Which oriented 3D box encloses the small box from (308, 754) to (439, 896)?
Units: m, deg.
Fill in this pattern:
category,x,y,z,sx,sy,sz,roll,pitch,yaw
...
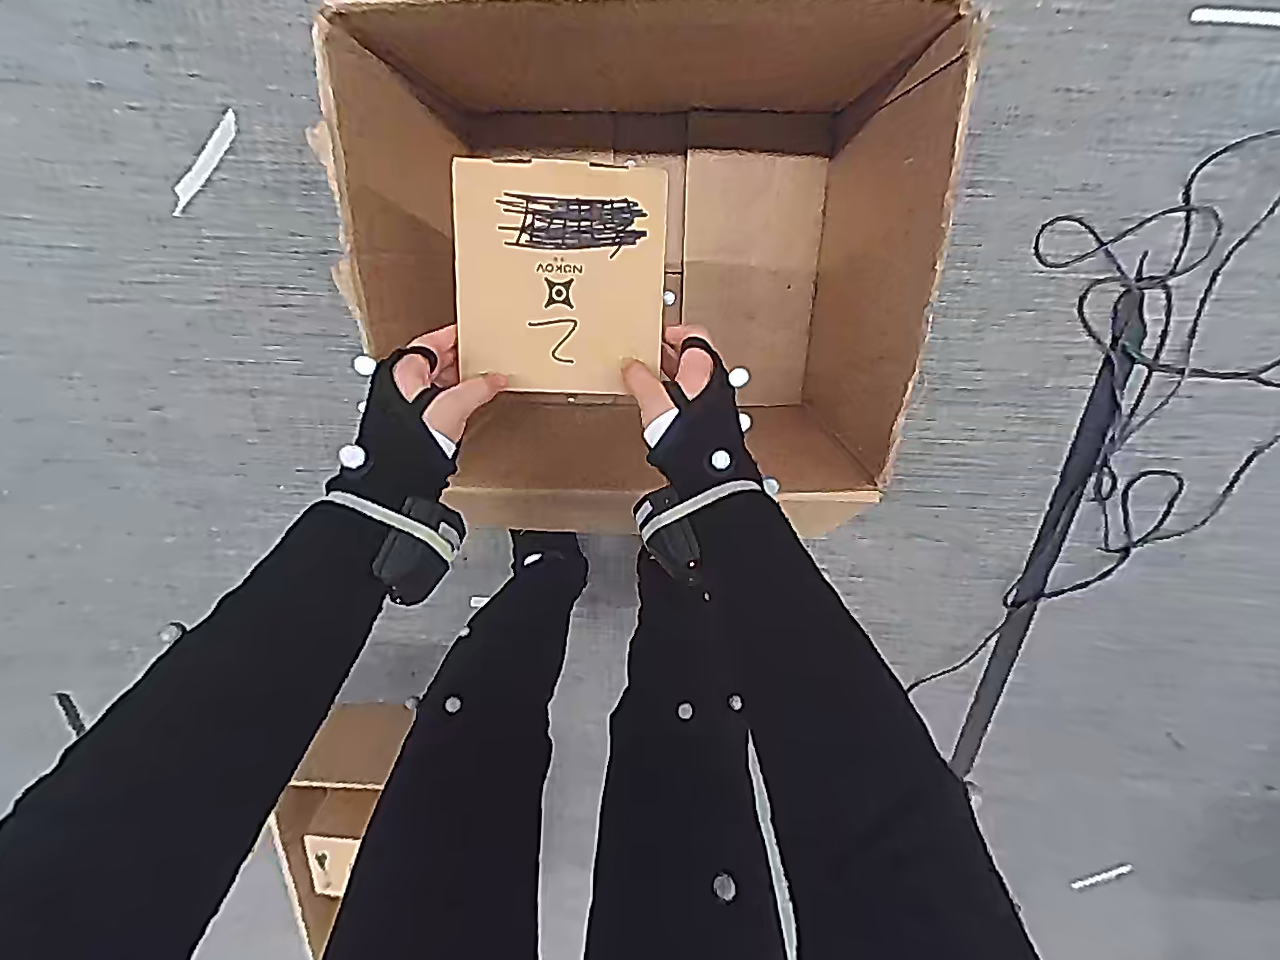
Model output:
category,x,y,z,sx,sy,sz,roll,pitch,yaw
small box,-0.493,0.652,1.033,0.179,0.176,0.168,5,113,-3
